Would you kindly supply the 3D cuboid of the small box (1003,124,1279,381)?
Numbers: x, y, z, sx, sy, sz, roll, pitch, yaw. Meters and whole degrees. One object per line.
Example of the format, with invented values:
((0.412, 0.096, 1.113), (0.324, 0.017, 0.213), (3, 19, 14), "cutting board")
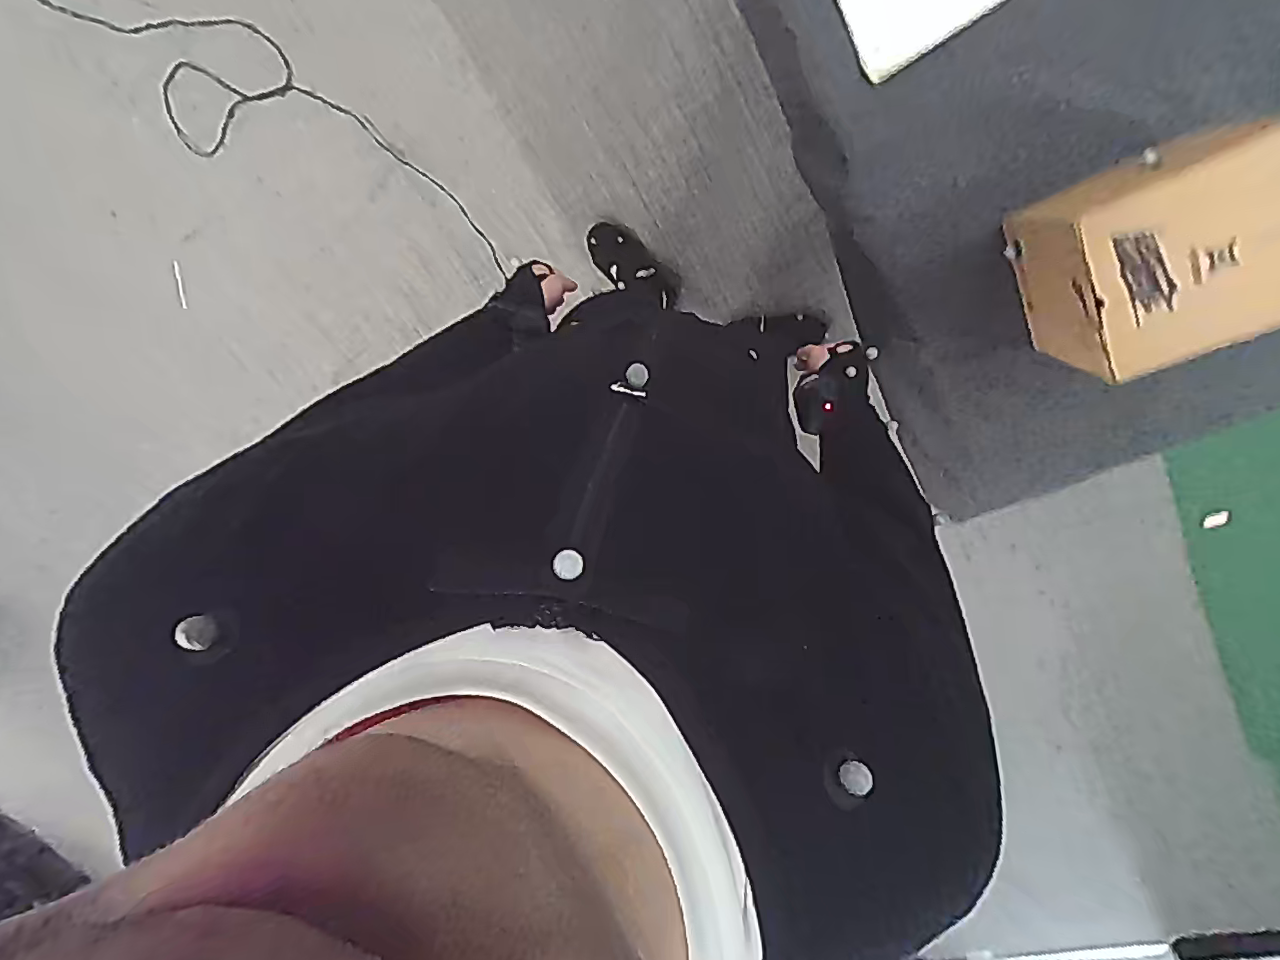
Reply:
((0.510, -0.227, 0.560), (0.179, 0.176, 0.168), (-22, 110, 20), "small box")
